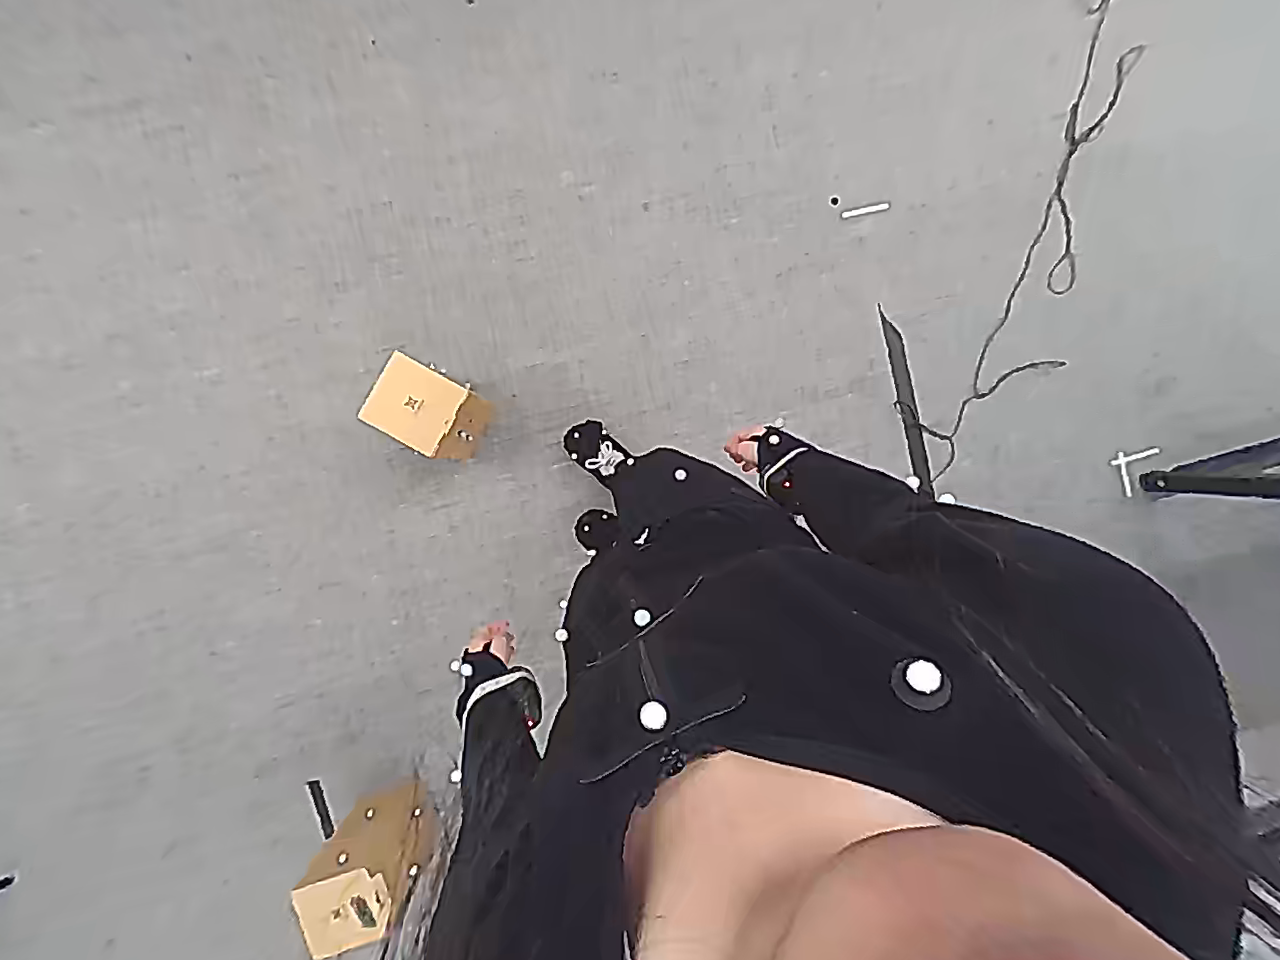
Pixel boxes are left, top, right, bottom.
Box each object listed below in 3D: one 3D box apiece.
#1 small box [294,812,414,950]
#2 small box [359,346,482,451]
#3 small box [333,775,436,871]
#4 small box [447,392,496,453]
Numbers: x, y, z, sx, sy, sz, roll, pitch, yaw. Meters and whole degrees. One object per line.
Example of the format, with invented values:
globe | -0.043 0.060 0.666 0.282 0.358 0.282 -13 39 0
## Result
small box | -0.647 0.915 1.253 0.179 0.176 0.168 -18 93 -2
small box | -0.482 -0.172 1.216 0.179 0.176 0.168 29 89 -6
small box | -0.656 0.913 1.417 0.179 0.176 0.168 -19 93 -2
small box | -0.493 -0.176 1.379 0.179 0.176 0.168 30 90 -4
